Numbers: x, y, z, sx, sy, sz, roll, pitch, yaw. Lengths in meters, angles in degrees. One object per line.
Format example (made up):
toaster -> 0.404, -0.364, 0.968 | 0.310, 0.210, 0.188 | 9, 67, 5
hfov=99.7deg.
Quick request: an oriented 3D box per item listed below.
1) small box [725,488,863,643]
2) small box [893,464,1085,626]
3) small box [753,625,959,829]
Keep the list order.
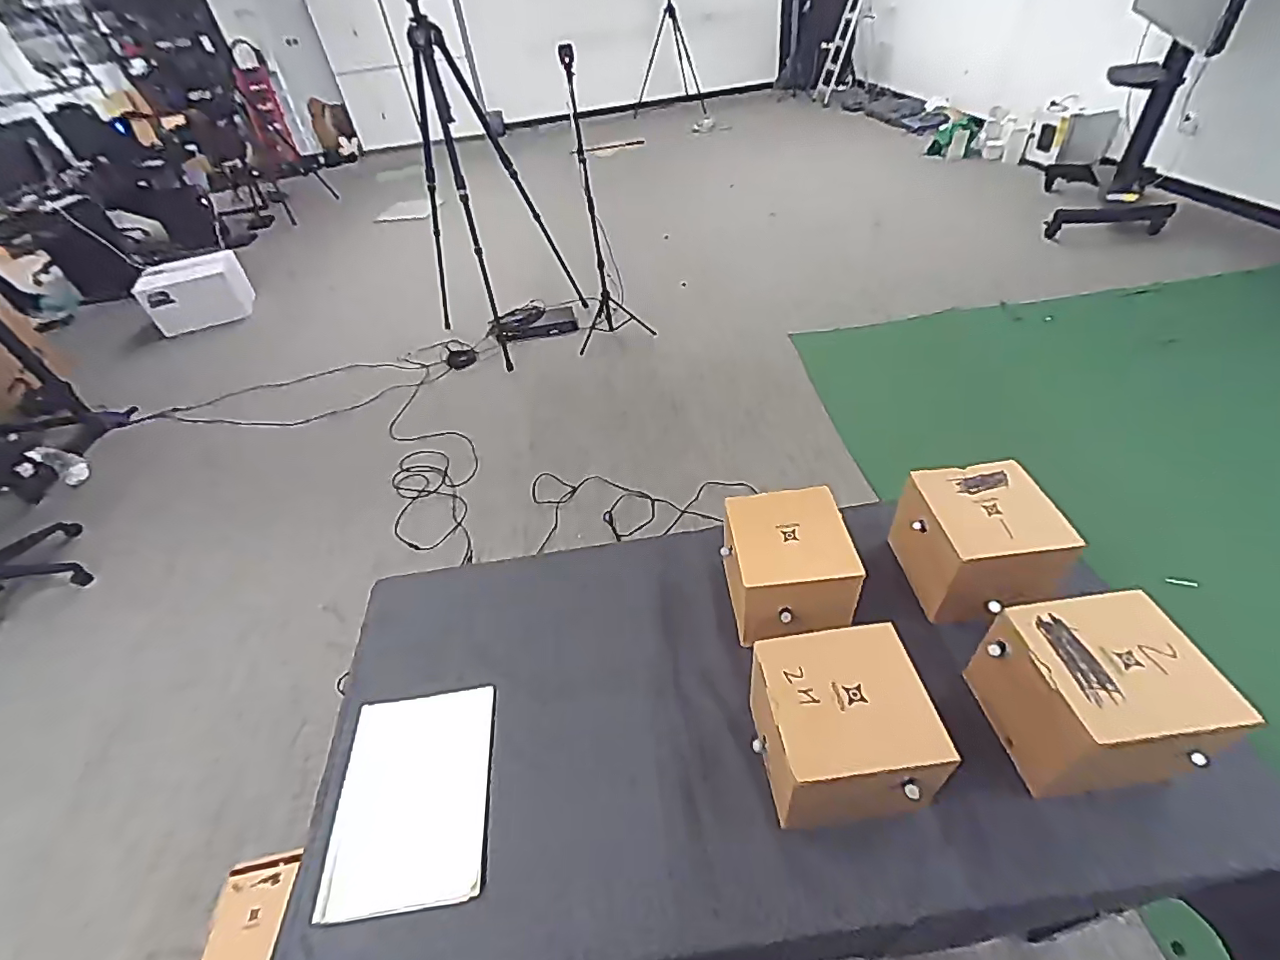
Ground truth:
small box -> 0.228, 0.139, 0.844 | 0.168, 0.176, 0.179 | -7, 42, 2
small box -> 0.515, 0.100, 0.835 | 0.168, 0.176, 0.179 | -7, 43, 3
small box -> 0.242, 0.303, 0.662 | 0.179, 0.176, 0.168 | -8, 42, 1
